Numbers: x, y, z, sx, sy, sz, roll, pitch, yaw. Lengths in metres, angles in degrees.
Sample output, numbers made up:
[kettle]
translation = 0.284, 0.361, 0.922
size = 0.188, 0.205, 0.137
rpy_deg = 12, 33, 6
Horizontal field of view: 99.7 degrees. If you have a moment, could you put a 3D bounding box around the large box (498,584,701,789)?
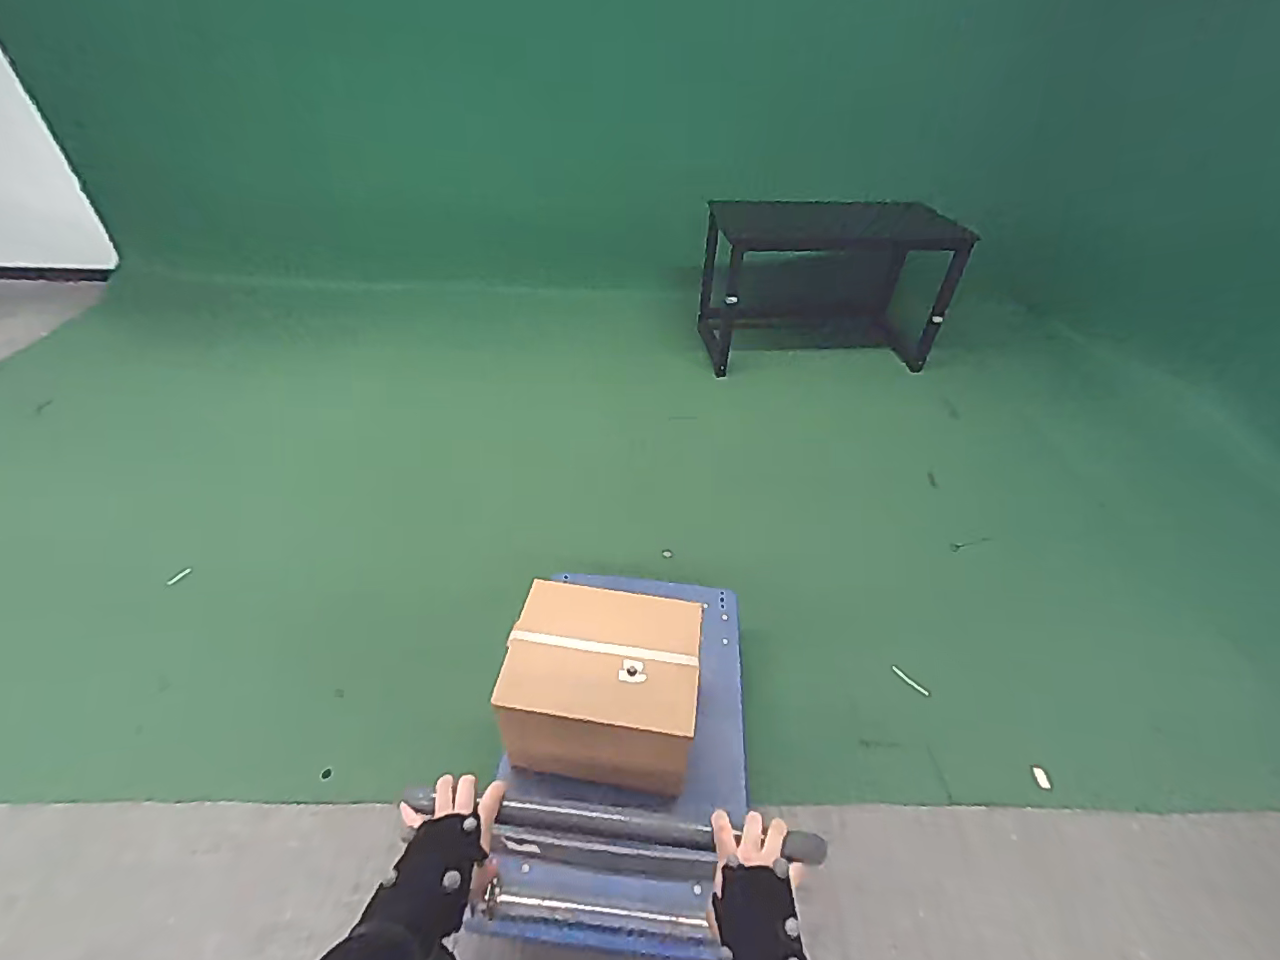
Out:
[large box]
translation = -0.082, 0.483, 1.274
size = 0.408, 0.320, 0.320
rpy_deg = 8, 42, 4
